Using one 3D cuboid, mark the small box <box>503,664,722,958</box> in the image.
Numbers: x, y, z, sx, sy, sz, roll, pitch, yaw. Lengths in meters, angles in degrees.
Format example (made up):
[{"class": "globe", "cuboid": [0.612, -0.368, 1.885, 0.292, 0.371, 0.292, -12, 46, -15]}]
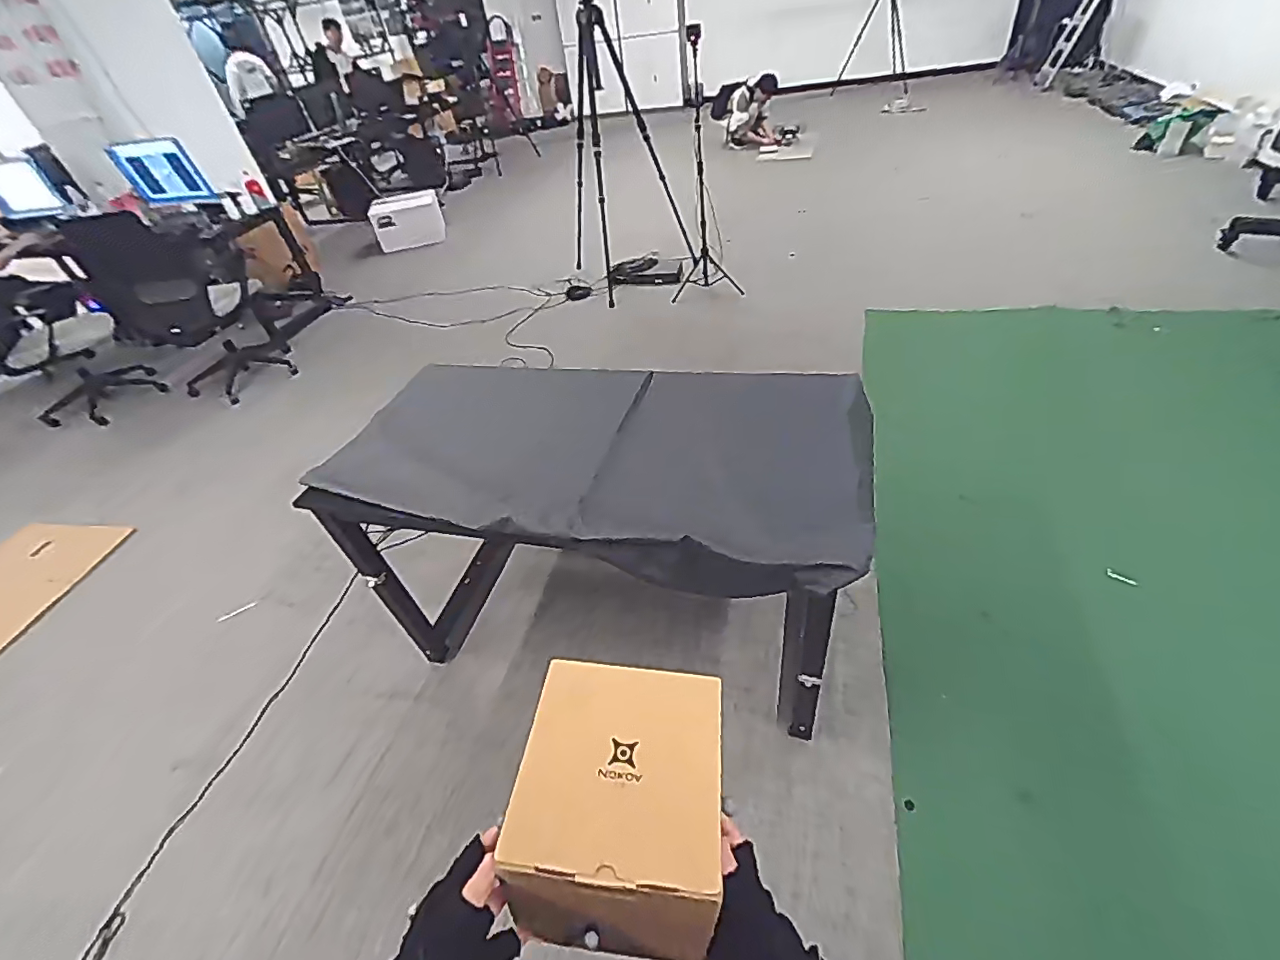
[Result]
[{"class": "small box", "cuboid": [-0.015, 0.305, 0.508, 0.168, 0.176, 0.179, 5, 38, 5]}]
